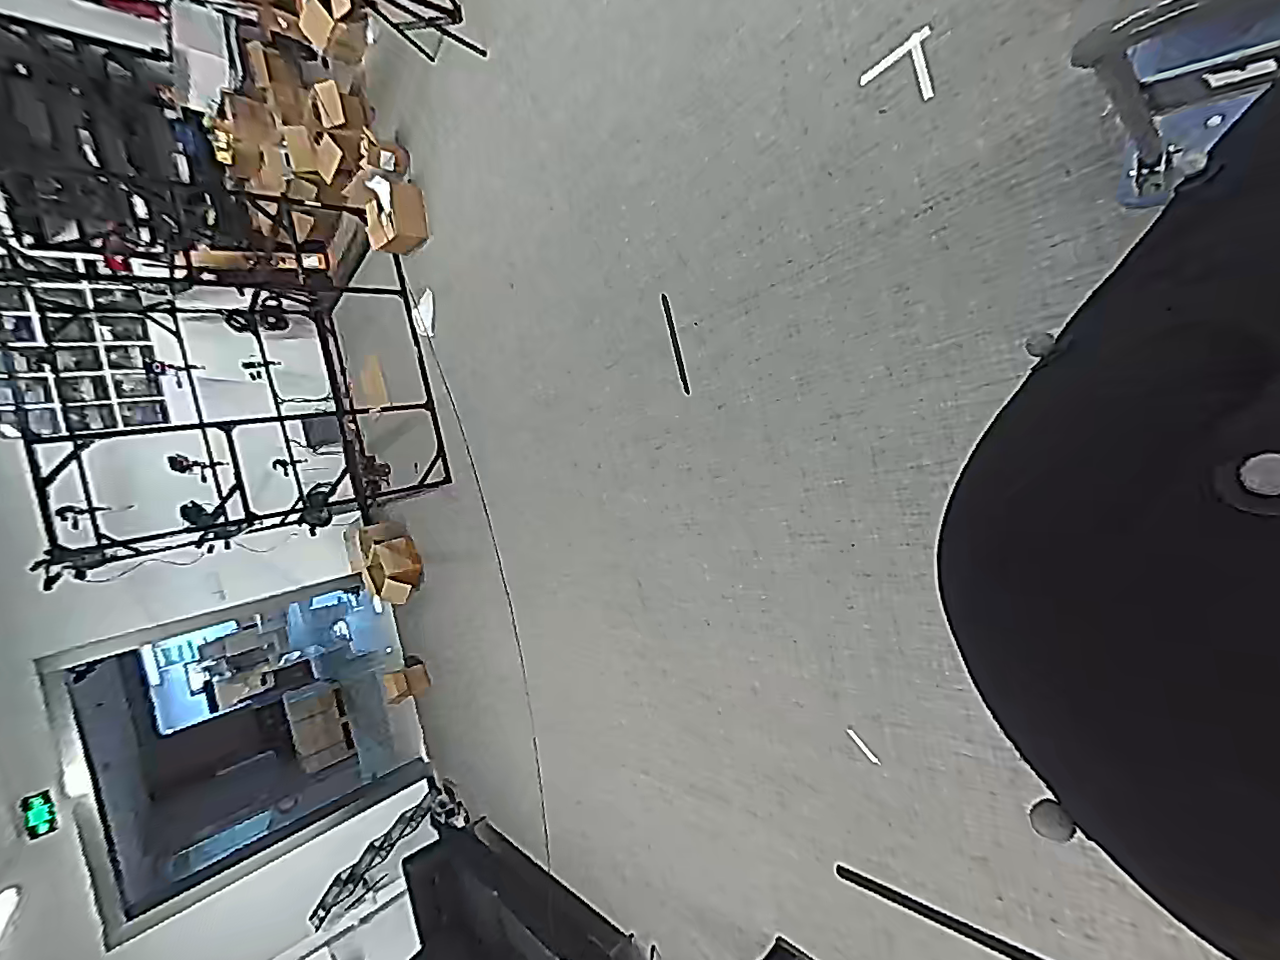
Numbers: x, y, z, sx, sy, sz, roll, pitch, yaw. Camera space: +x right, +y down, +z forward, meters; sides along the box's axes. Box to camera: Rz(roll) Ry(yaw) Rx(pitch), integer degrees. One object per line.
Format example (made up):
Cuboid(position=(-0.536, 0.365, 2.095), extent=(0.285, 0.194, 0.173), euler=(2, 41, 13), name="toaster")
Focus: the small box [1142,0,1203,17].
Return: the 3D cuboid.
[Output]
Cuboid(position=(0.836, -0.808, 0.763), extent=(0.179, 0.176, 0.168), euler=(14, 110, 44), name="small box")
